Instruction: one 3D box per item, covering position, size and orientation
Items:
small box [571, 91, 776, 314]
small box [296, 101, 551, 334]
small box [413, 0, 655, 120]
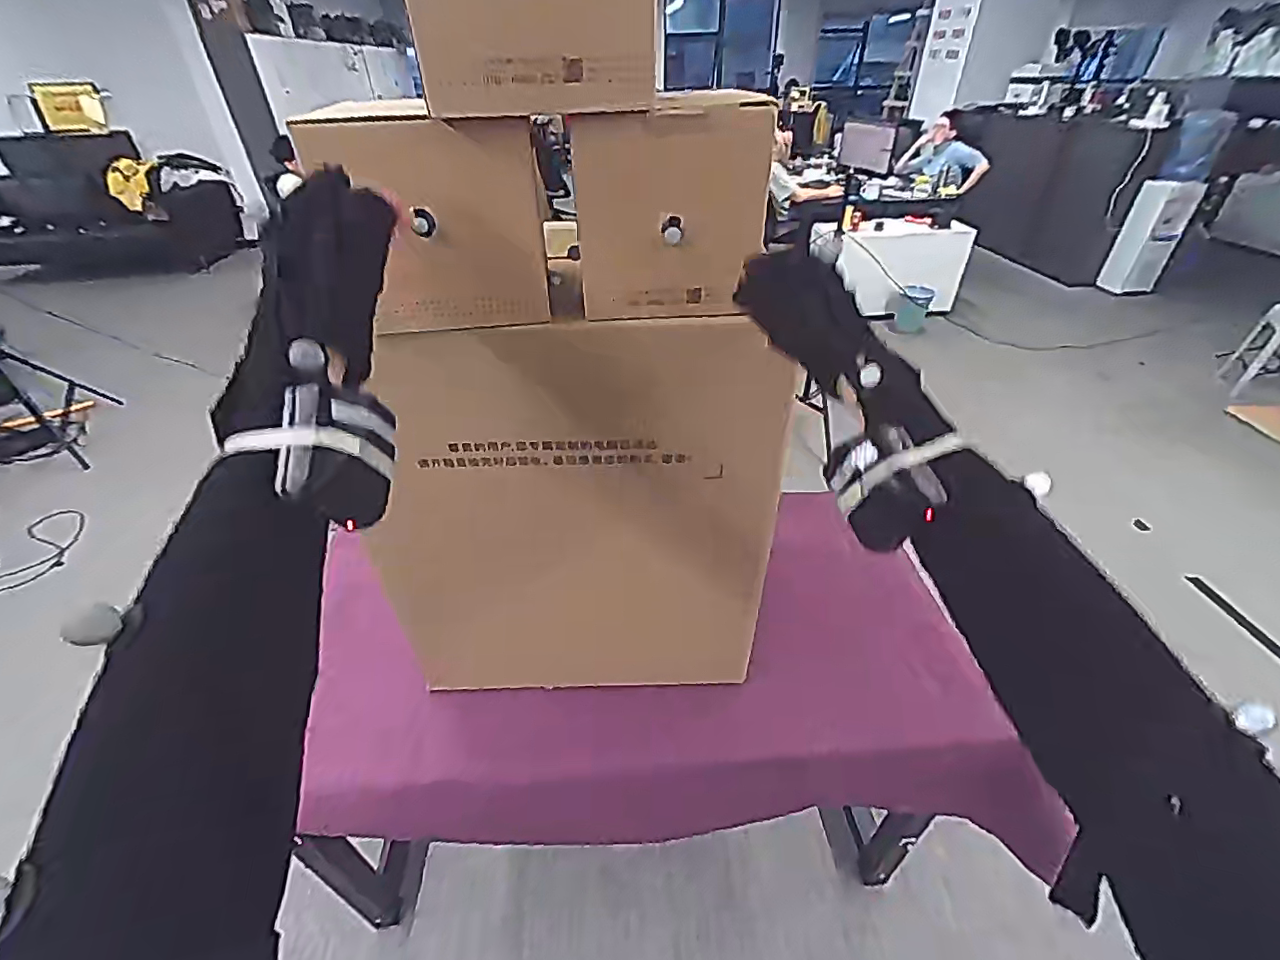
[{"bbox_3d":[0.026,-0.273,0.536,0.168,0.176,0.179,-2,39,-2],"label":"small box"},{"bbox_3d":[-0.179,-0.253,0.518,0.179,0.176,0.168,-7,38,-6],"label":"small box"},{"bbox_3d":[-0.085,-0.380,0.414,0.168,0.176,0.179,-8,38,-10],"label":"small box"}]
